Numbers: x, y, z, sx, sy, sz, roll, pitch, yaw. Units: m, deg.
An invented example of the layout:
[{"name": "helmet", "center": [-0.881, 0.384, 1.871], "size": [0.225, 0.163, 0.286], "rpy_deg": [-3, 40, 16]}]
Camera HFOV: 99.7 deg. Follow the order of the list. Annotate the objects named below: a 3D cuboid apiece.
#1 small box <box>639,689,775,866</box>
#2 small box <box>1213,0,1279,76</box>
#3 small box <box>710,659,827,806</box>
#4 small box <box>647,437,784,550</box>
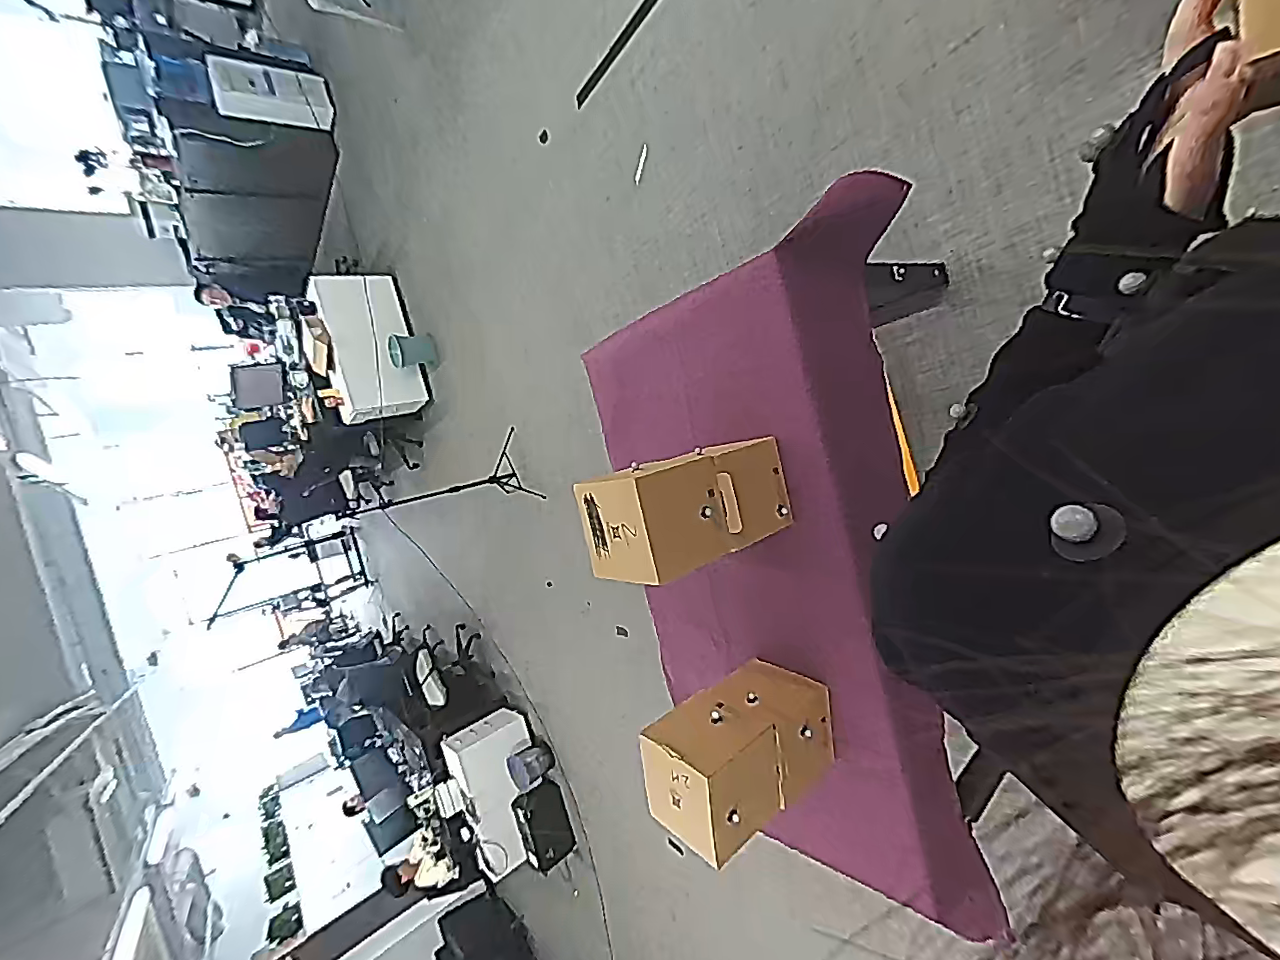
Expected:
[{"name": "small box", "center": [0.121, 0.507, 0.949], "size": [0.168, 0.176, 0.179], "rpy_deg": [7, 108, 49]}, {"name": "small box", "center": [0.314, -0.269, 0.176], "size": [0.179, 0.176, 0.168], "rpy_deg": [-2, 111, 46]}, {"name": "small box", "center": [0.247, 0.474, 1.048], "size": [0.179, 0.176, 0.168], "rpy_deg": [6, 108, 50]}, {"name": "small box", "center": [0.145, 0.023, 0.996], "size": [0.179, 0.176, 0.168], "rpy_deg": [-7, 99, 53]}]
